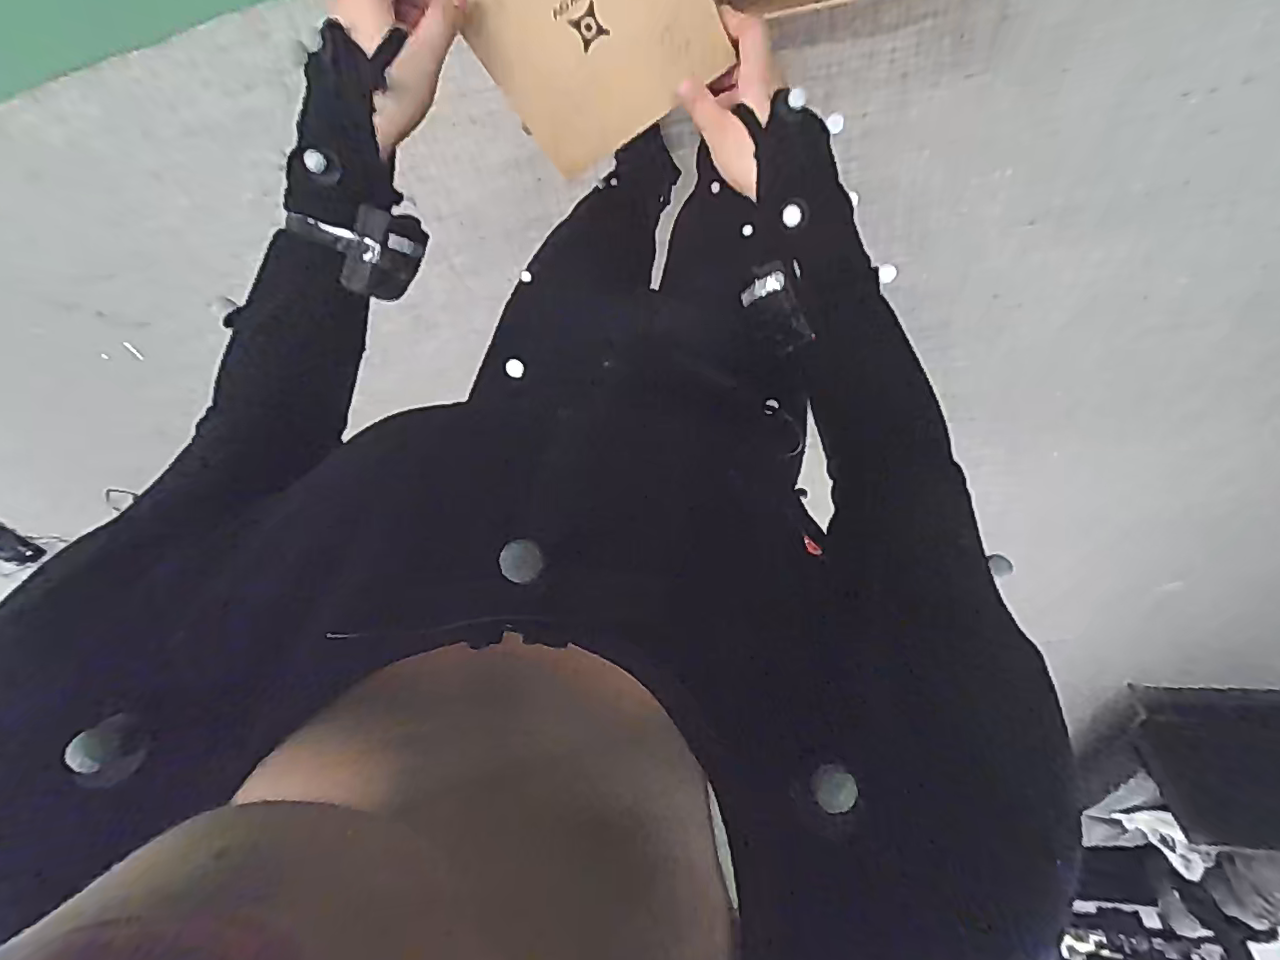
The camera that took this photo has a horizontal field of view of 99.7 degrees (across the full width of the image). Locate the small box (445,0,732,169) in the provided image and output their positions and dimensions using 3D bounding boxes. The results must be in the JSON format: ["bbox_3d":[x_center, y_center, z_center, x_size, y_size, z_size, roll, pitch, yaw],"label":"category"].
[{"bbox_3d":[-0.043,-0.402,0.426,0.168,0.176,0.179,-22,138,24],"label":"small box"}]
